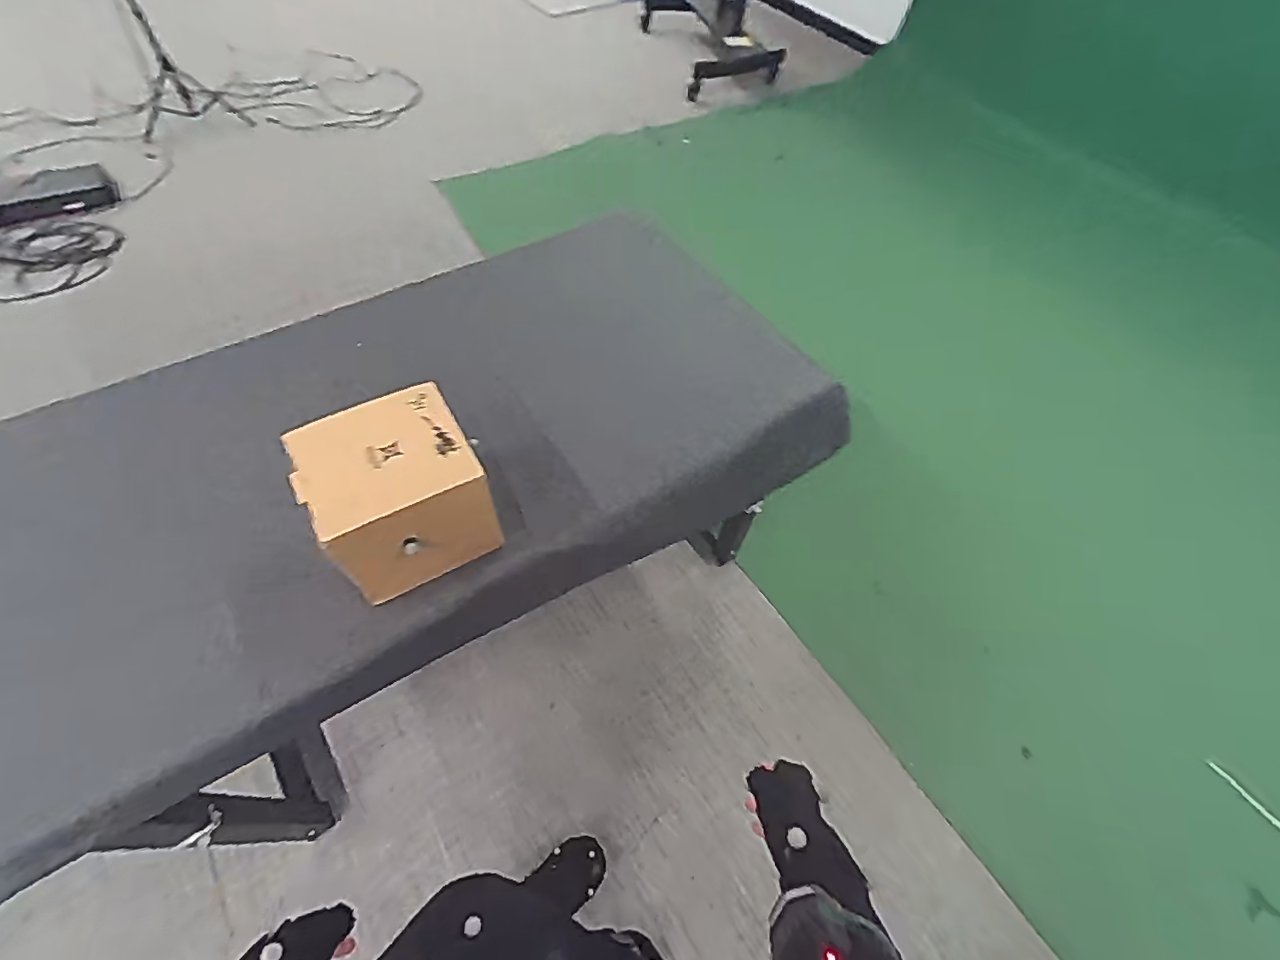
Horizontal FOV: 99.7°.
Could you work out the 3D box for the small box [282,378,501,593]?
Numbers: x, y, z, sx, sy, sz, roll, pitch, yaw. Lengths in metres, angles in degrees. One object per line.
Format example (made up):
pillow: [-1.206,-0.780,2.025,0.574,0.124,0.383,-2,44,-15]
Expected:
small box: [-0.294,0.012,0.668,0.179,0.176,0.168,-26,62,-19]
